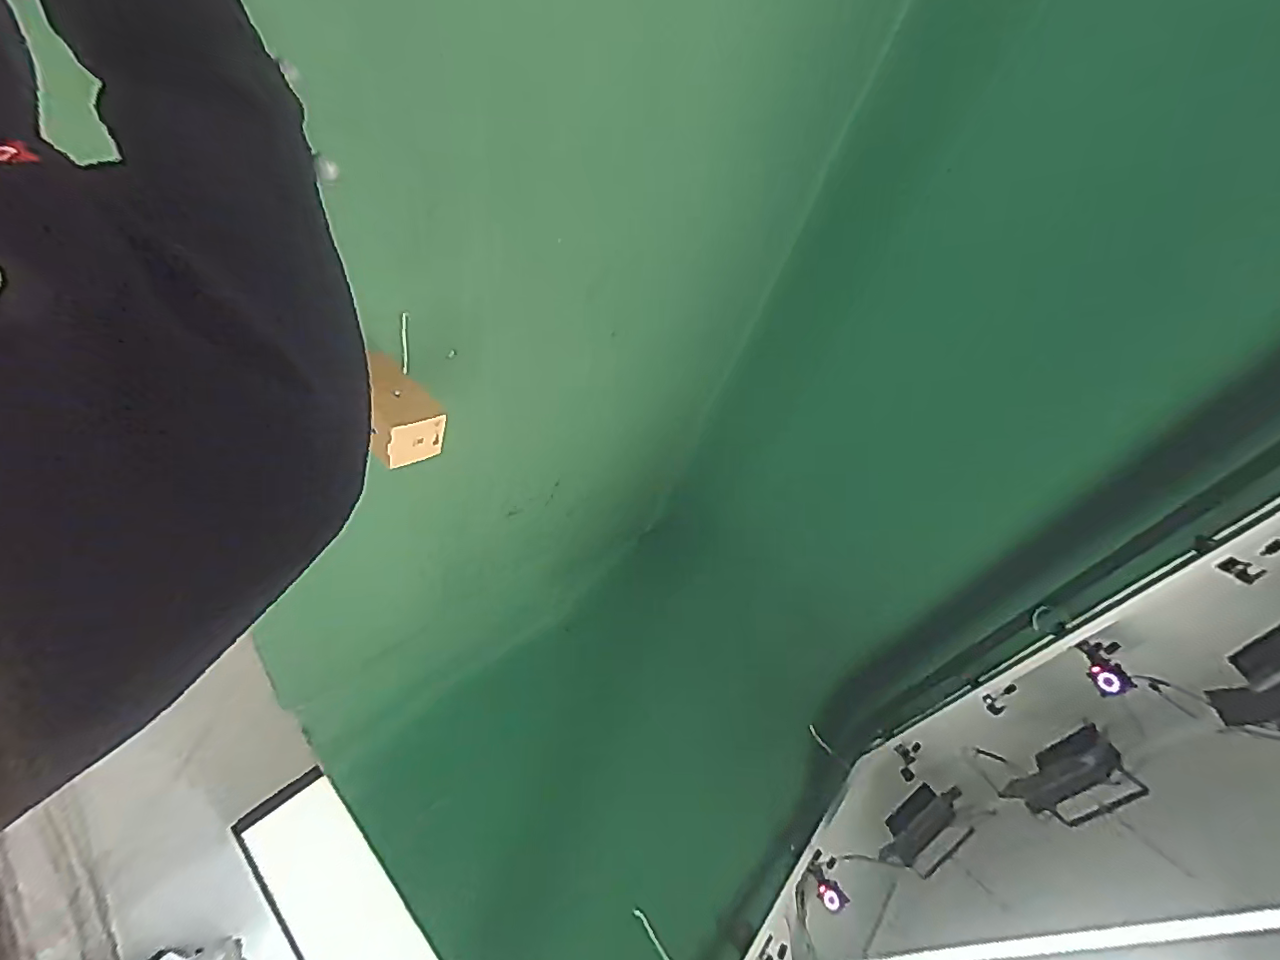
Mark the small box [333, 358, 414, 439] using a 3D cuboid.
[{"bbox_3d":[-0.828,-0.258,1.681,0.179,0.176,0.168,-27,153,-46],"label":"small box"}]

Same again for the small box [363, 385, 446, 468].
[{"bbox_3d":[-0.722,-0.167,1.641,0.179,0.176,0.168,-25,151,-45],"label":"small box"}]
